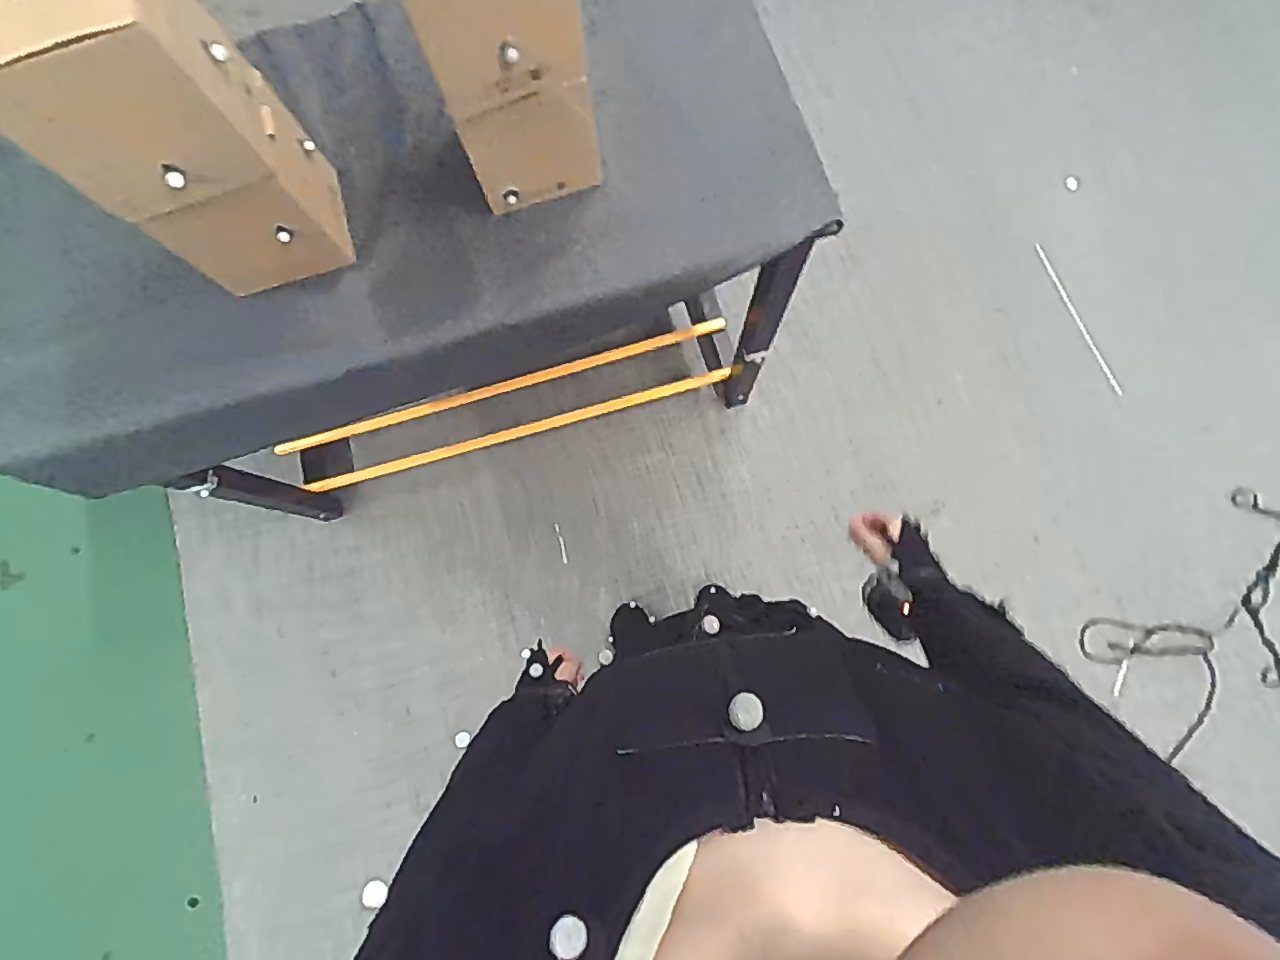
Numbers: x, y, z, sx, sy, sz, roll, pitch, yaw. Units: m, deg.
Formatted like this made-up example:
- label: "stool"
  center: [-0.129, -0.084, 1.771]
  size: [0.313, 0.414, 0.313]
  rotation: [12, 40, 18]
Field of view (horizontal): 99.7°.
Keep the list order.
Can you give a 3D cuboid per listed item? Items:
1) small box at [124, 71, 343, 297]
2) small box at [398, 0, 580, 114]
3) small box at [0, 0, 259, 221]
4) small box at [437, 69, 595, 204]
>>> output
- label: "small box"
  center: [-0.516, -0.370, 0.703]
  size: [0.179, 0.176, 0.168]
  rotation: [-18, 76, -1]
- label: "small box"
  center: [-0.175, -0.532, 0.555]
  size: [0.168, 0.176, 0.179]
  rotation: [-23, 78, -2]
- label: "small box"
  center: [-0.521, -0.402, 0.541]
  size: [0.179, 0.176, 0.168]
  rotation: [-21, 76, -3]
- label: "small box"
  center: [-0.165, -0.499, 0.716]
  size: [0.168, 0.176, 0.179]
  rotation: [-18, 77, -2]
